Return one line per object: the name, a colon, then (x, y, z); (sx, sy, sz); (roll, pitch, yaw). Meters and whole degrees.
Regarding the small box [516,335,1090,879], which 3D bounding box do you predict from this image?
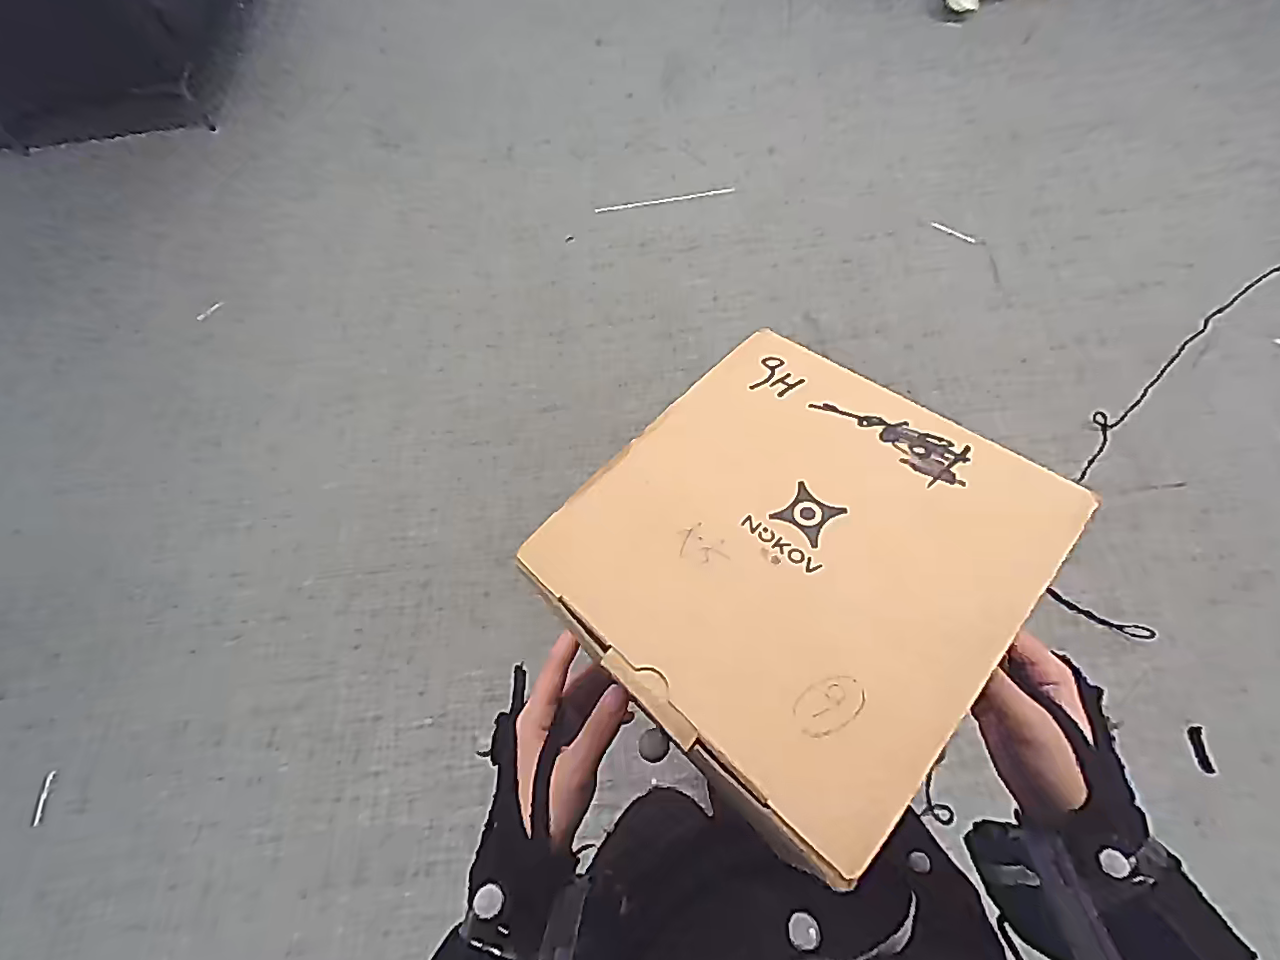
small box: (0.072, 0.065, 0.288); (0.168, 0.176, 0.179); (37, 70, 28)
